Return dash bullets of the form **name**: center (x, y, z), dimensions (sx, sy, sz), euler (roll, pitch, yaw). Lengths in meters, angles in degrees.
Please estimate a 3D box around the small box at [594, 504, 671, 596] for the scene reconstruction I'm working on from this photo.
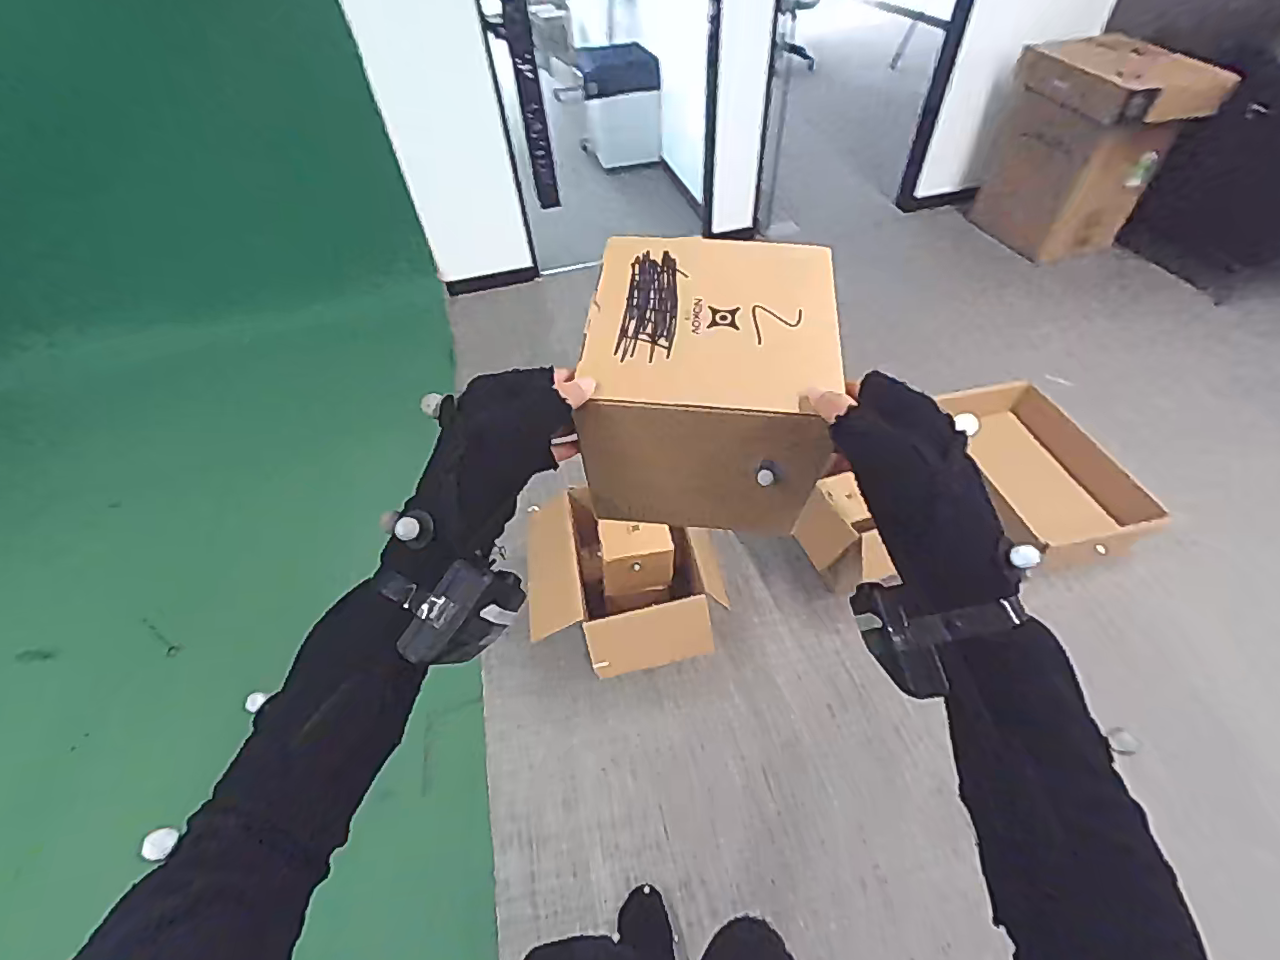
- **small box**: center (-0.021, 0.187, 1.426), dimensions (0.179, 0.176, 0.168), euler (-9, 49, -5)
